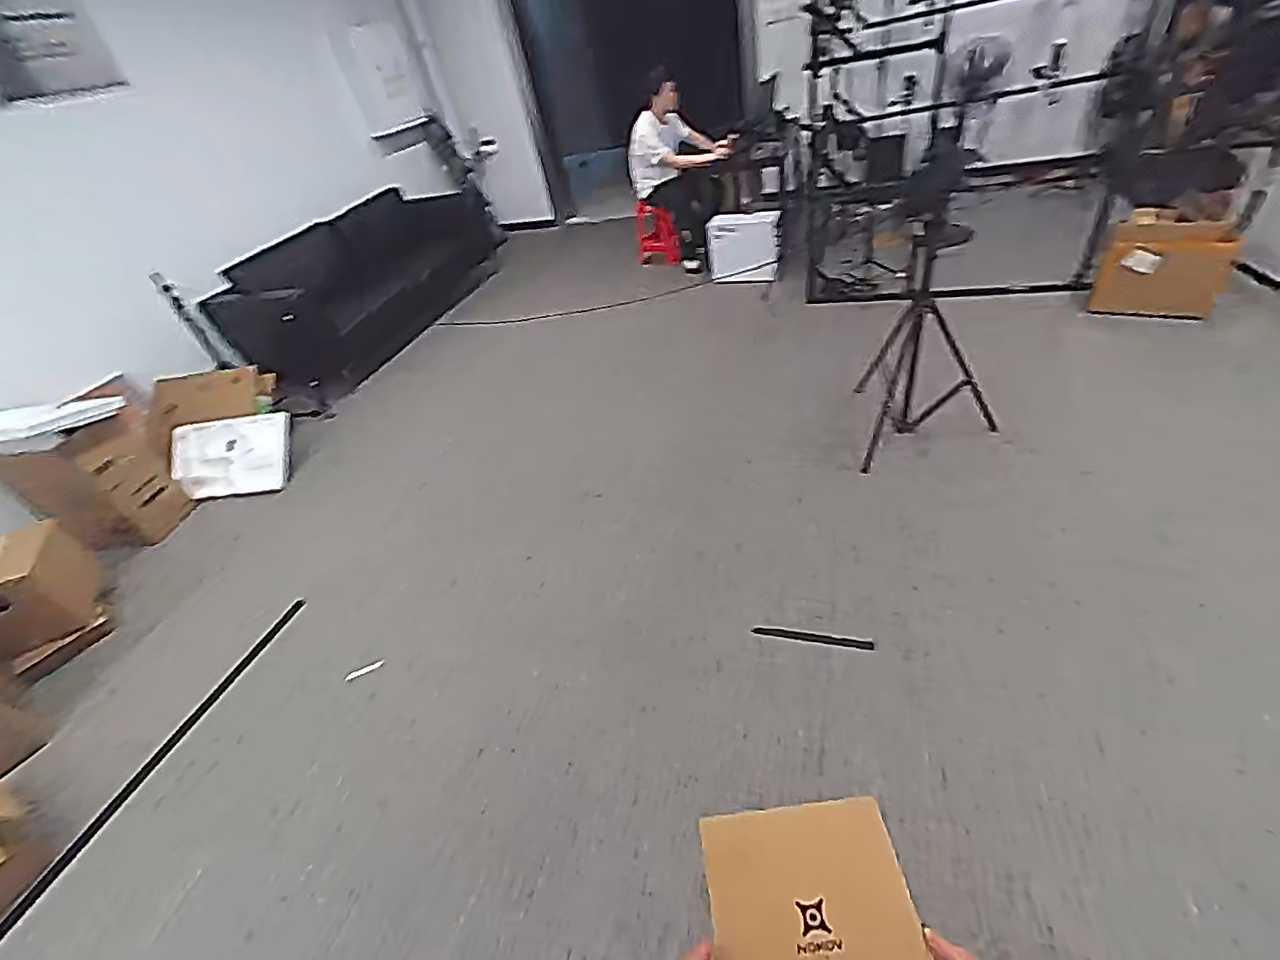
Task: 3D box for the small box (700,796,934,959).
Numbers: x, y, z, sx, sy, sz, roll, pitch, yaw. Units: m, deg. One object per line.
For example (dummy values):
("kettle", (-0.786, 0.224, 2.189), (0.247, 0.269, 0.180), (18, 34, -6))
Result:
("small box", (0.150, 0.416, 0.481), (0.168, 0.176, 0.179), (-10, 40, 2))
